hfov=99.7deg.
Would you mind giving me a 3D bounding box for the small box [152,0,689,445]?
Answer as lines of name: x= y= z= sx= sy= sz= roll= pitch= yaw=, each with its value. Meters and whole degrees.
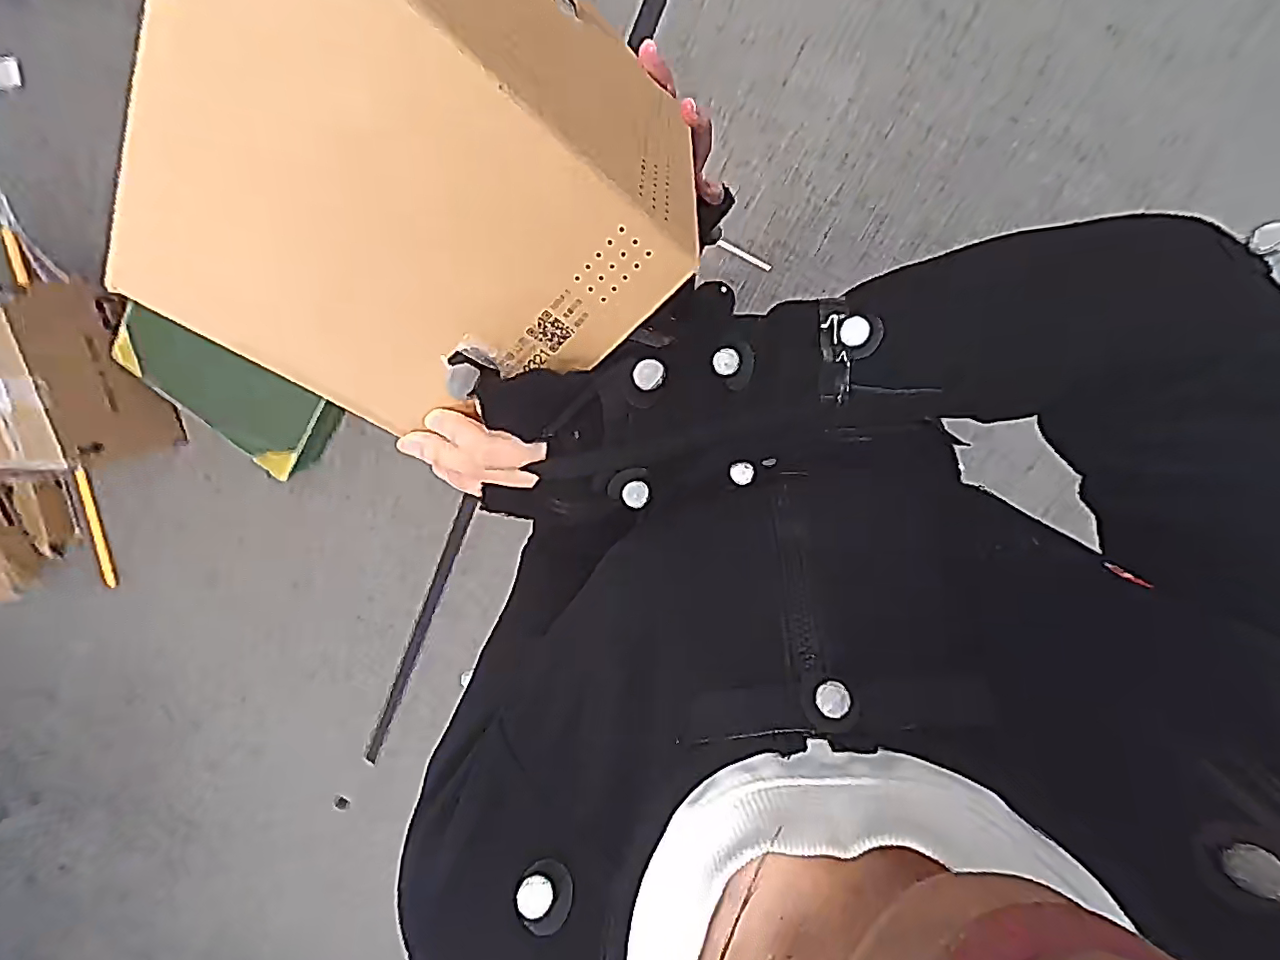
small box: x=-0.087 y=-0.151 z=0.278 sx=0.176 sy=0.179 sz=0.168 roll=33 pitch=131 yaw=-28
